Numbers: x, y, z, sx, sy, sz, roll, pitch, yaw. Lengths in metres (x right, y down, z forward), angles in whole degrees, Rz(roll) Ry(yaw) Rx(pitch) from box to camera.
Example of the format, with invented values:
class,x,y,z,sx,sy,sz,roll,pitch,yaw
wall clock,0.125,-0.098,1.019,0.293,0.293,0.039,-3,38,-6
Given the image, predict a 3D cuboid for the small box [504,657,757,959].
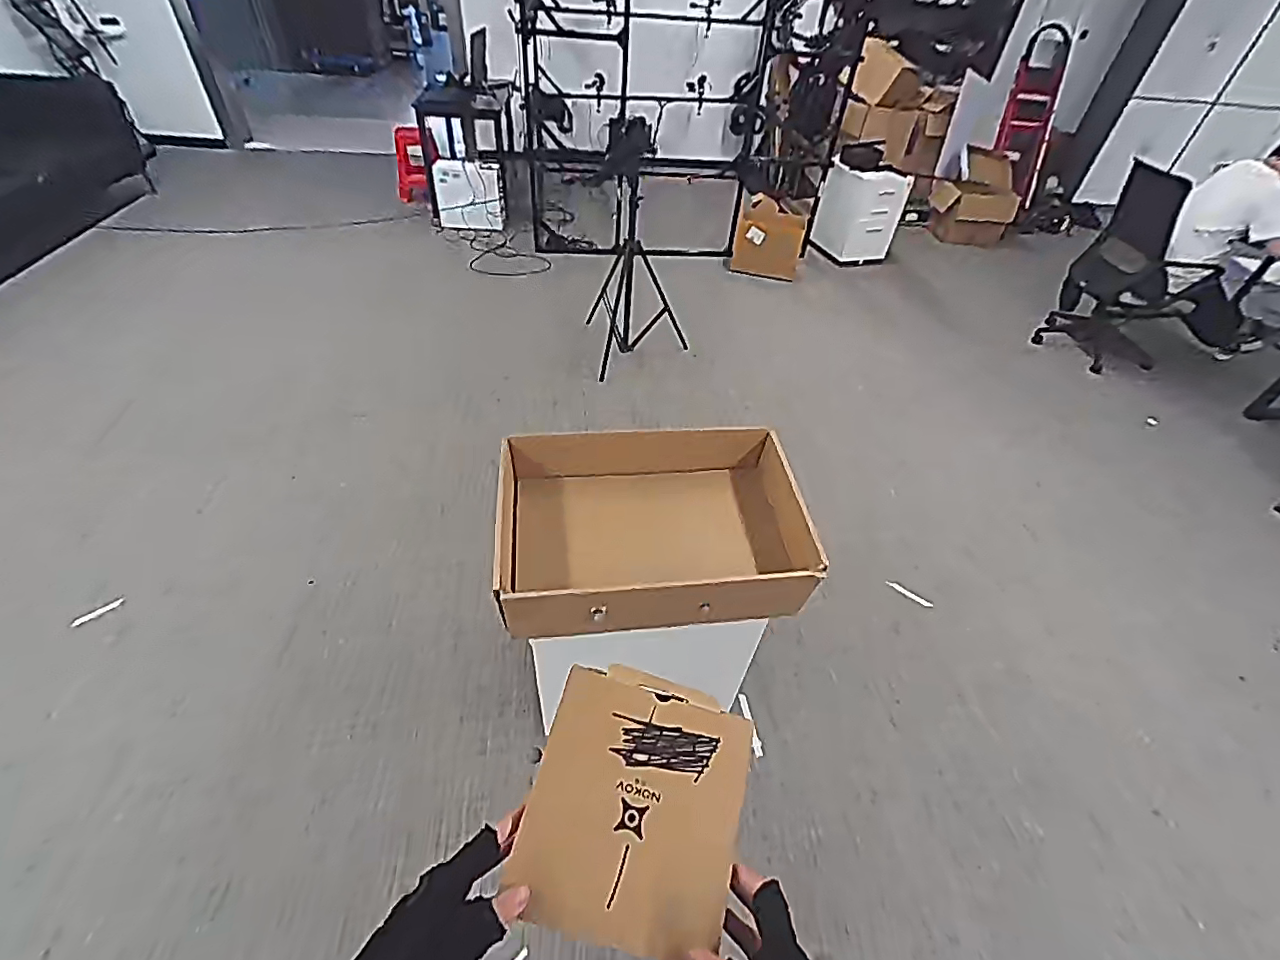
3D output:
class,x,y,z,sx,sy,sz,roll,pitch,yaw
small box,-0.010,0.286,0.492,0.168,0.176,0.179,18,60,1
